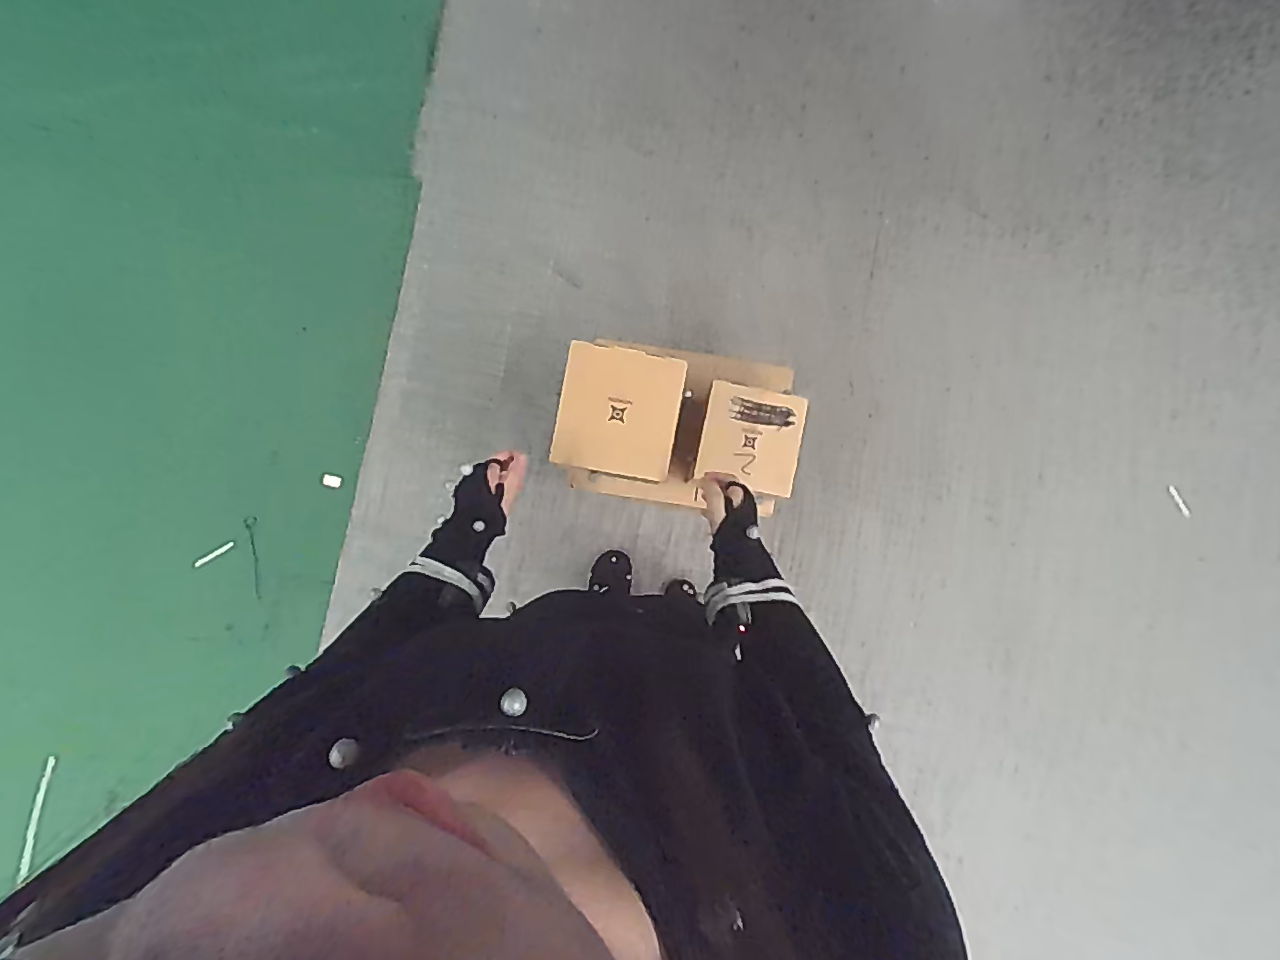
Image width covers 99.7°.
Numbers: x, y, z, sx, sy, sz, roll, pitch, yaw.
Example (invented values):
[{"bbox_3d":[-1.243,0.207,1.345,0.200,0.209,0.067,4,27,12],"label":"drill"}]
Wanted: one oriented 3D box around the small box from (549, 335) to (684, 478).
[{"bbox_3d":[-0.033,-0.102,0.836,0.168,0.176,0.179,11,88,-1],"label":"small box"}]
